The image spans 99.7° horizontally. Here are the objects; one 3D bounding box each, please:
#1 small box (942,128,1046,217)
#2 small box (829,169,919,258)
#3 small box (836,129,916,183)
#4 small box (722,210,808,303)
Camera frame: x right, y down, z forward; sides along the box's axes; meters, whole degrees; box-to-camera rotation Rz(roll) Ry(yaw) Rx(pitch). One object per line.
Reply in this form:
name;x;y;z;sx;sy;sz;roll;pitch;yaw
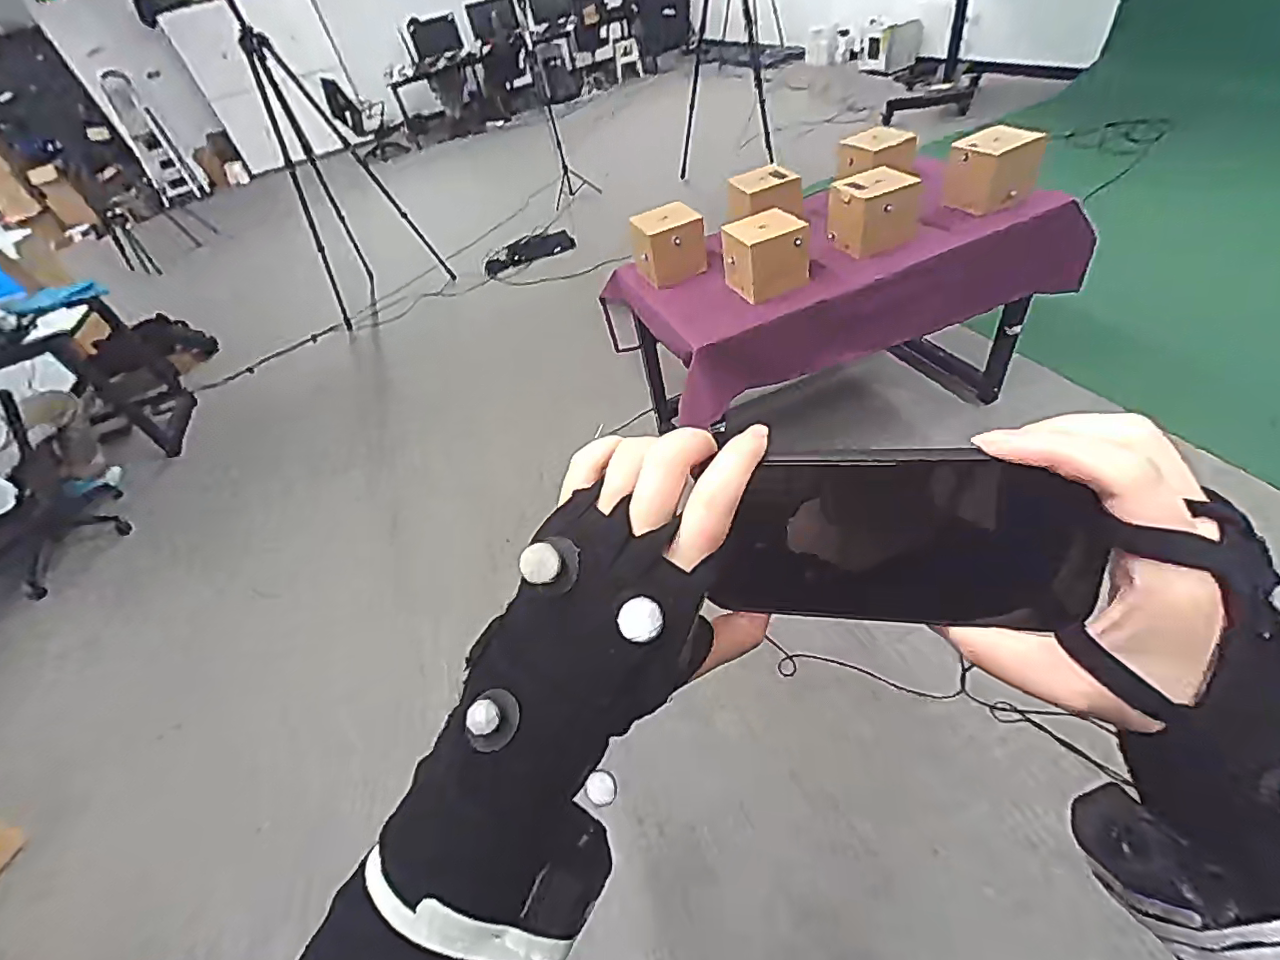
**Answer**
small box;1.022;-0.899;1.581;0.179;0.176;0.168;-24;45;-9
small box;0.659;-0.758;1.544;0.179;0.176;0.168;-20;45;-6
small box;0.763;-1.023;1.773;0.168;0.176;0.179;-25;46;-9
small box;0.344;-0.611;1.486;0.179;0.176;0.168;-22;45;-8
